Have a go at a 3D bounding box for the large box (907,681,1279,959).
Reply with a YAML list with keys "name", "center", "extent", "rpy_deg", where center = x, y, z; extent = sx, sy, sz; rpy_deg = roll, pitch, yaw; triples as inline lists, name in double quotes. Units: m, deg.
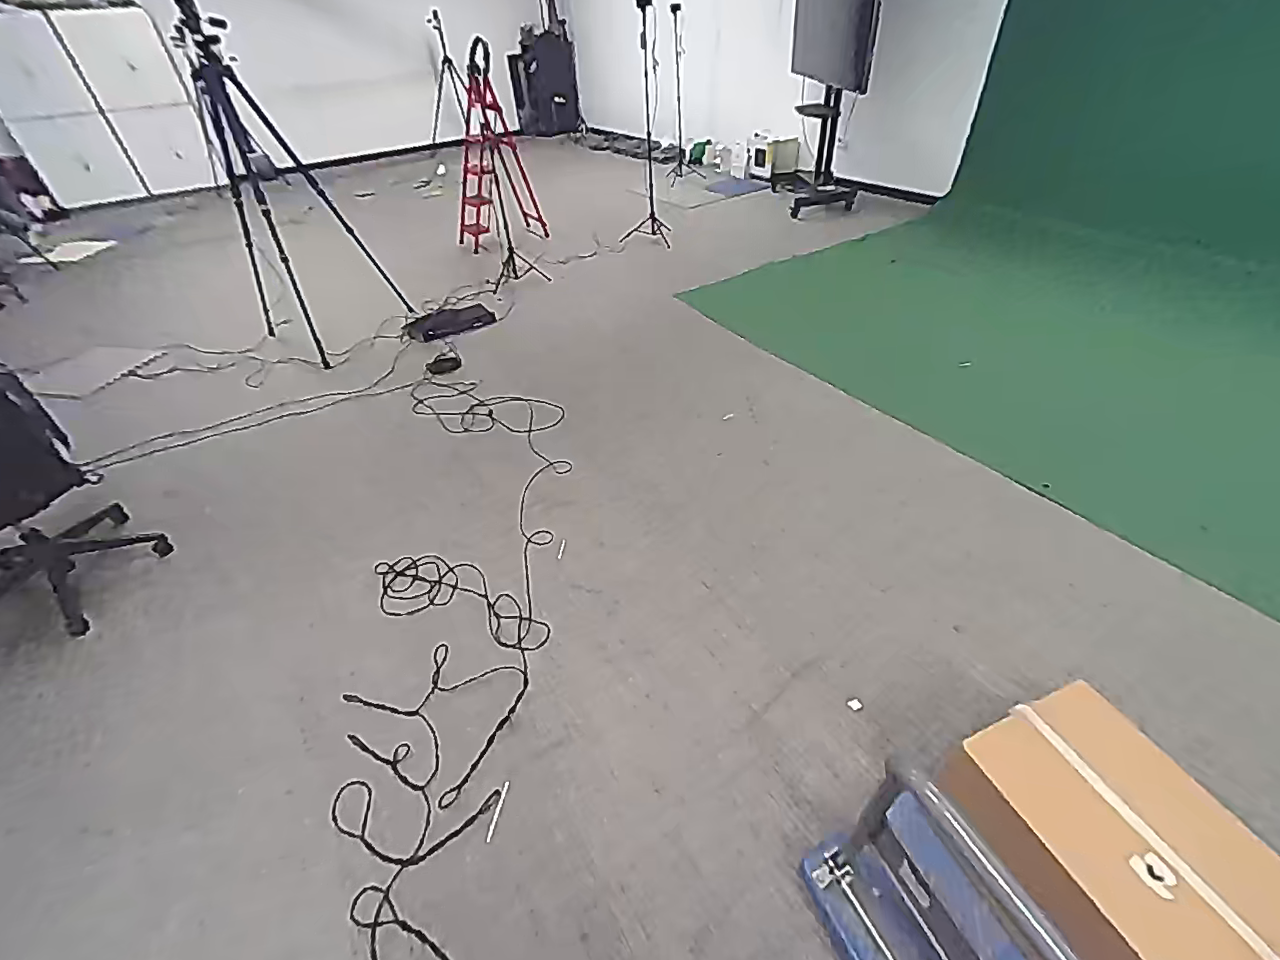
- name: "large box"
  center: [0.800, 0.673, 1.010]
  extent: [0.320, 0.320, 0.408]
  rpy_deg: [-18, 44, -15]
